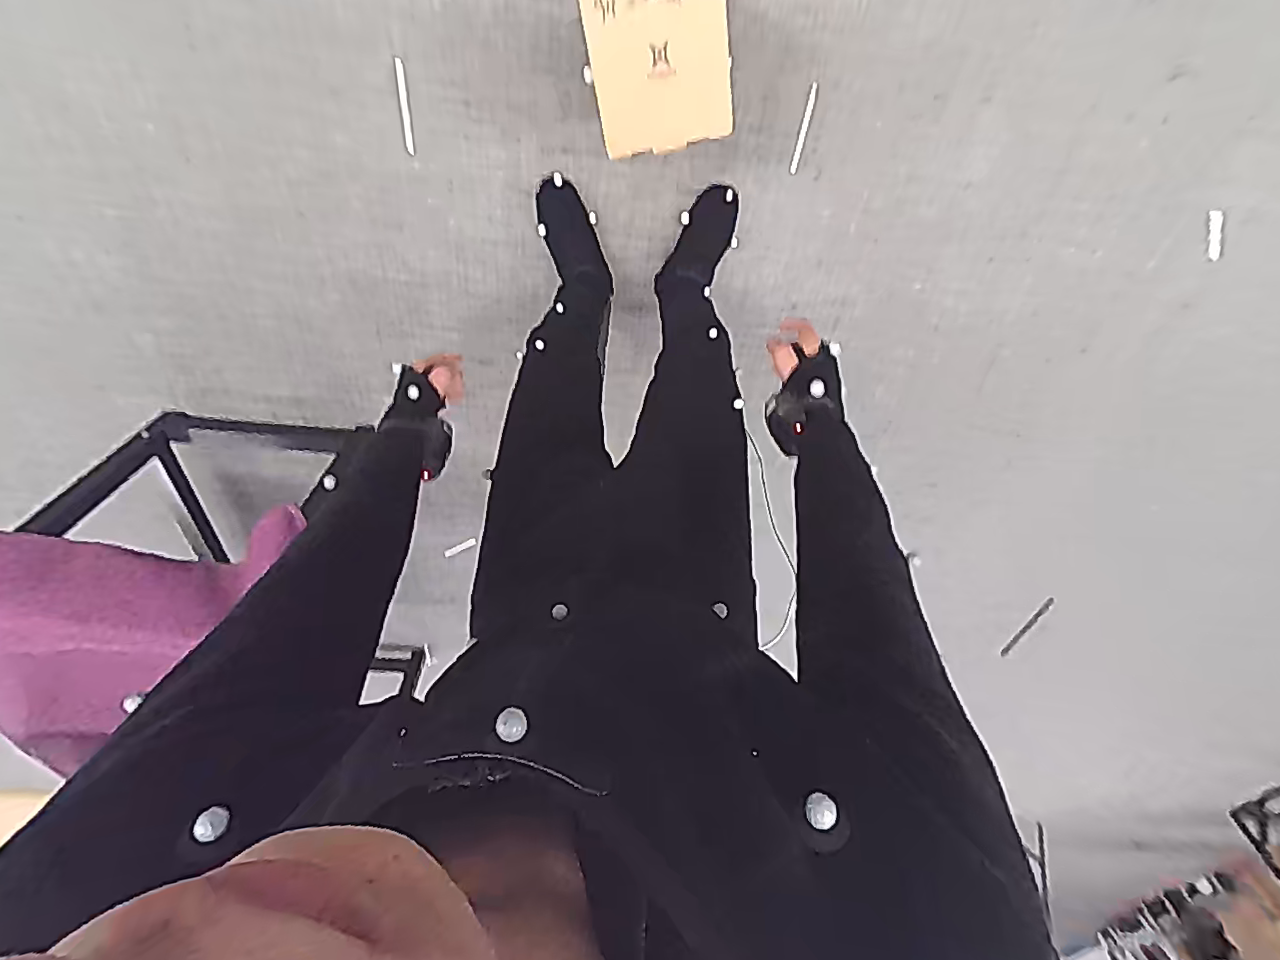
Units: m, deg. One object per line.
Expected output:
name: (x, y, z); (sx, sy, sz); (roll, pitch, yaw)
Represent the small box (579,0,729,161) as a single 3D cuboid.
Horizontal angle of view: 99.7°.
small box: (0.022, -0.550, 0.715); (0.168, 0.176, 0.179); (-8, 129, 5)
